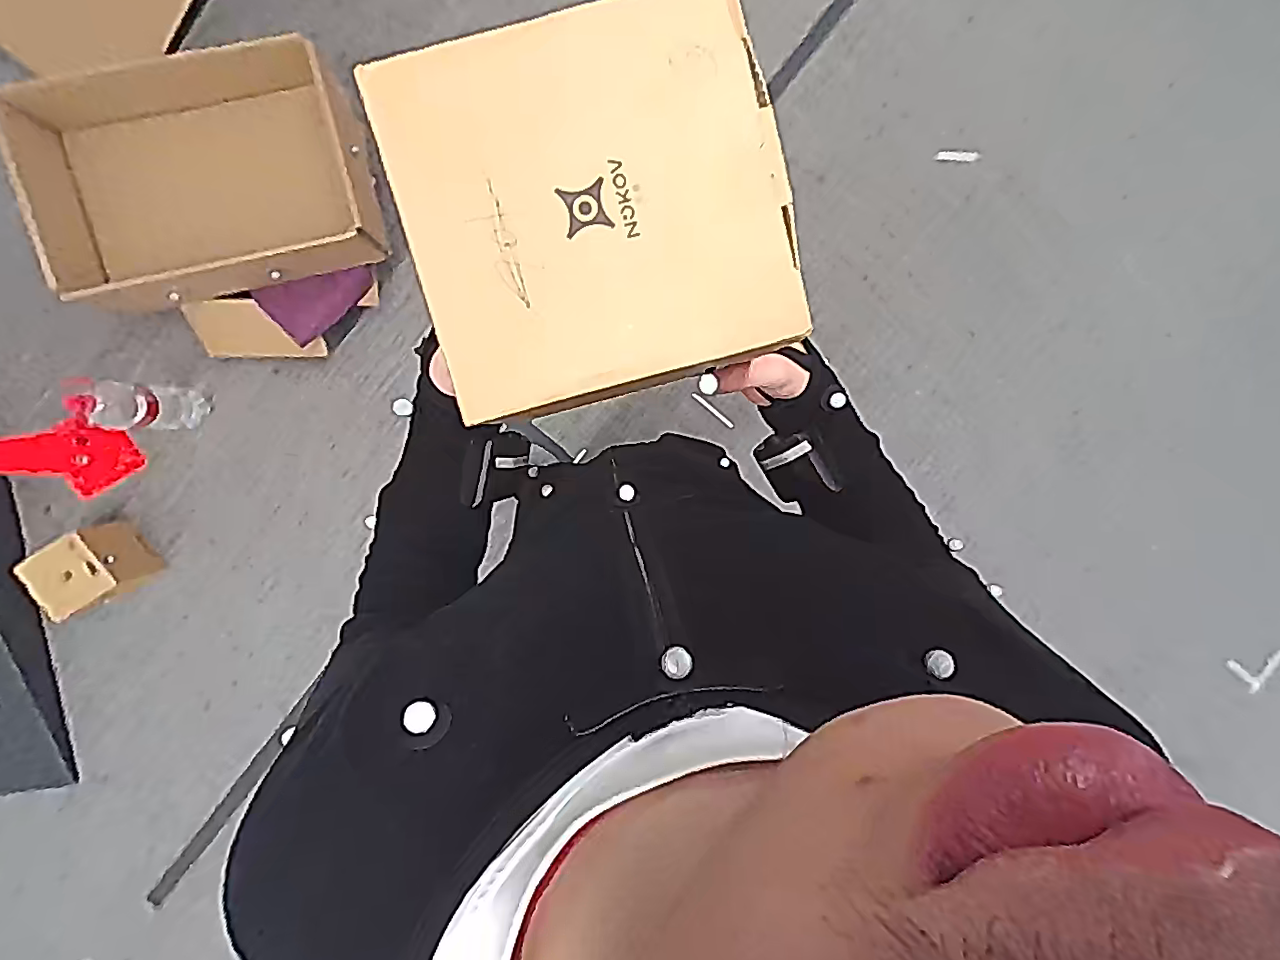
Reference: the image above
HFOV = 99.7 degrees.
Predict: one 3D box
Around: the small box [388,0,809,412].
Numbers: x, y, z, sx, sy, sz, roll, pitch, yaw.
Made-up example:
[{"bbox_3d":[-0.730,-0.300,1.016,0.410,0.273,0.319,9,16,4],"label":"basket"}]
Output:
[{"bbox_3d":[-0.019,-0.143,0.342,0.179,0.176,0.168,-14,96,1],"label":"small box"}]
